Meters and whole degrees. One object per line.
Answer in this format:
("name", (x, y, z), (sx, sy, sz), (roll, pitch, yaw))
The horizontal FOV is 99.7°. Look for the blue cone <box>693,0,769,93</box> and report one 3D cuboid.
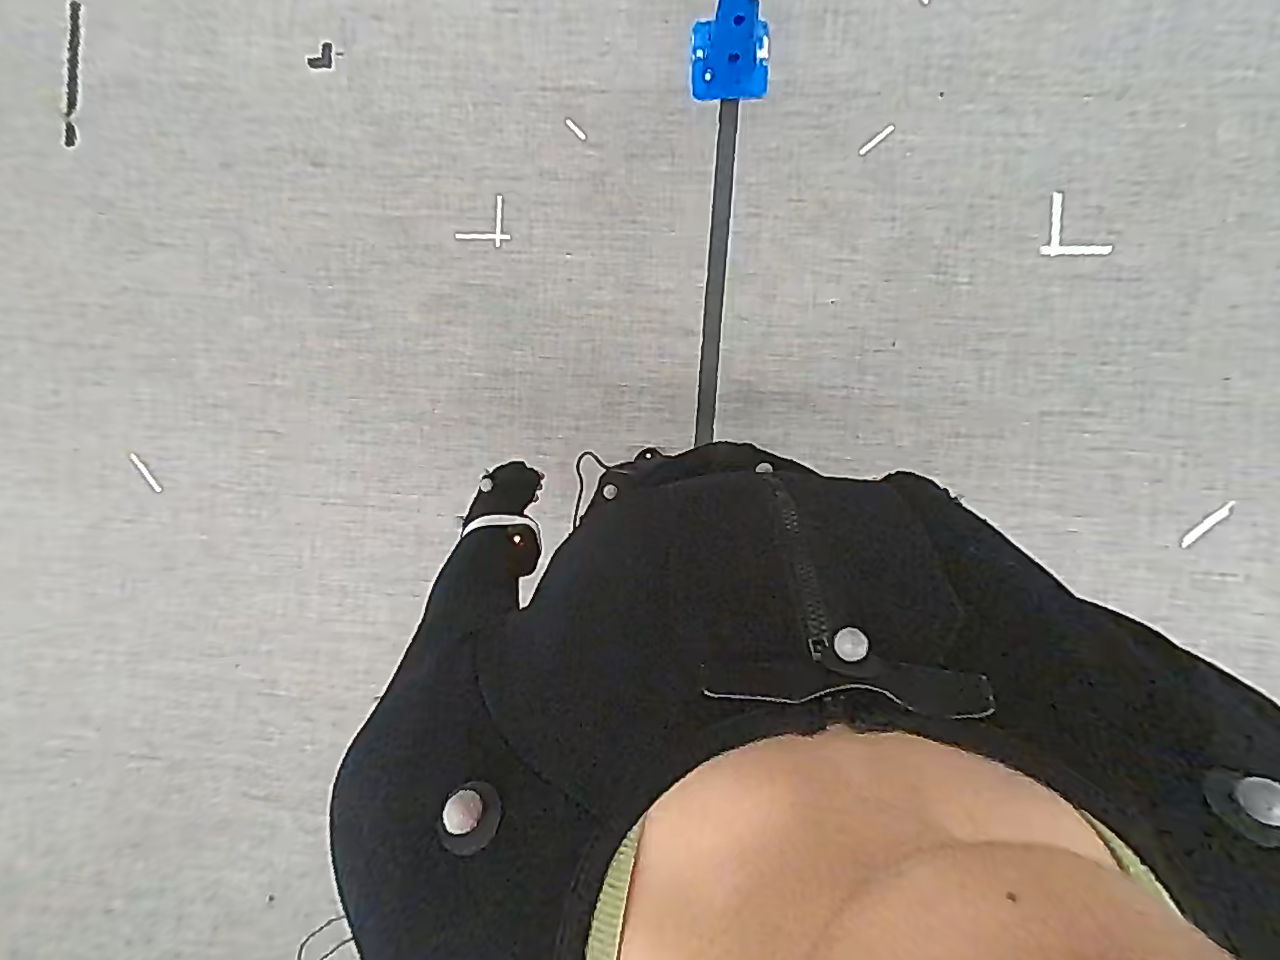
("blue cone", (0.226, -1.092, 1.231), (0.192, 0.380, 0.193), (-2, 94, 3))
